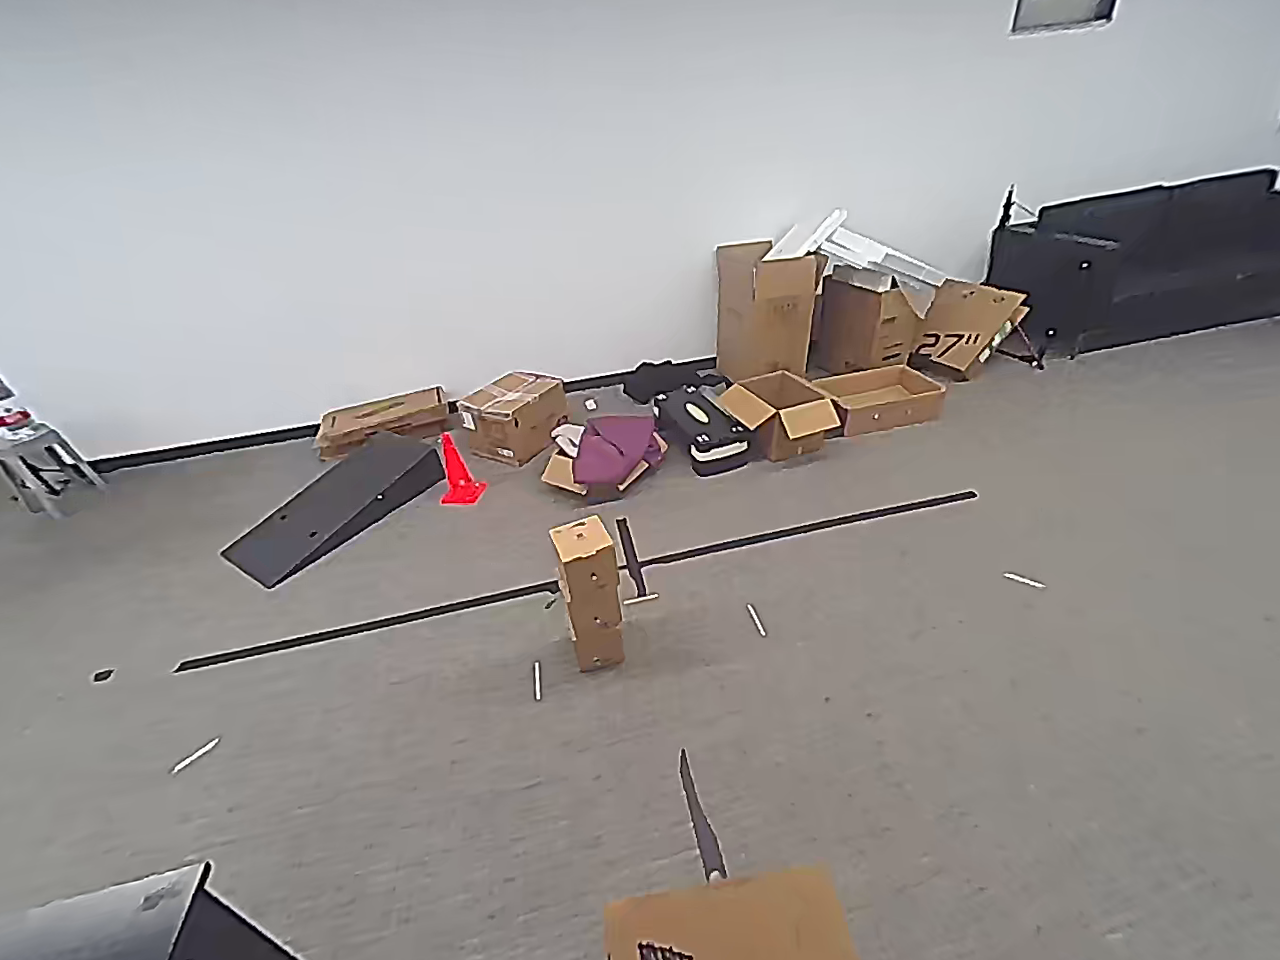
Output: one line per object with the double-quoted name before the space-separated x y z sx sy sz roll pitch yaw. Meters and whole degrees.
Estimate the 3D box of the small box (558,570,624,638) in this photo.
"small box" -0.164 0.391 1.802 0.168 0.176 0.179 -17 34 -13

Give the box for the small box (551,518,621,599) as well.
"small box" -0.169 0.254 1.711 0.168 0.176 0.179 -18 35 -15

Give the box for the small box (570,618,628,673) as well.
"small box" -0.147 0.536 1.881 0.168 0.176 0.179 -14 35 -9

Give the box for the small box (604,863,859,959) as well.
"small box" 0.071 0.416 0.407 0.179 0.176 0.168 -6 46 -6
